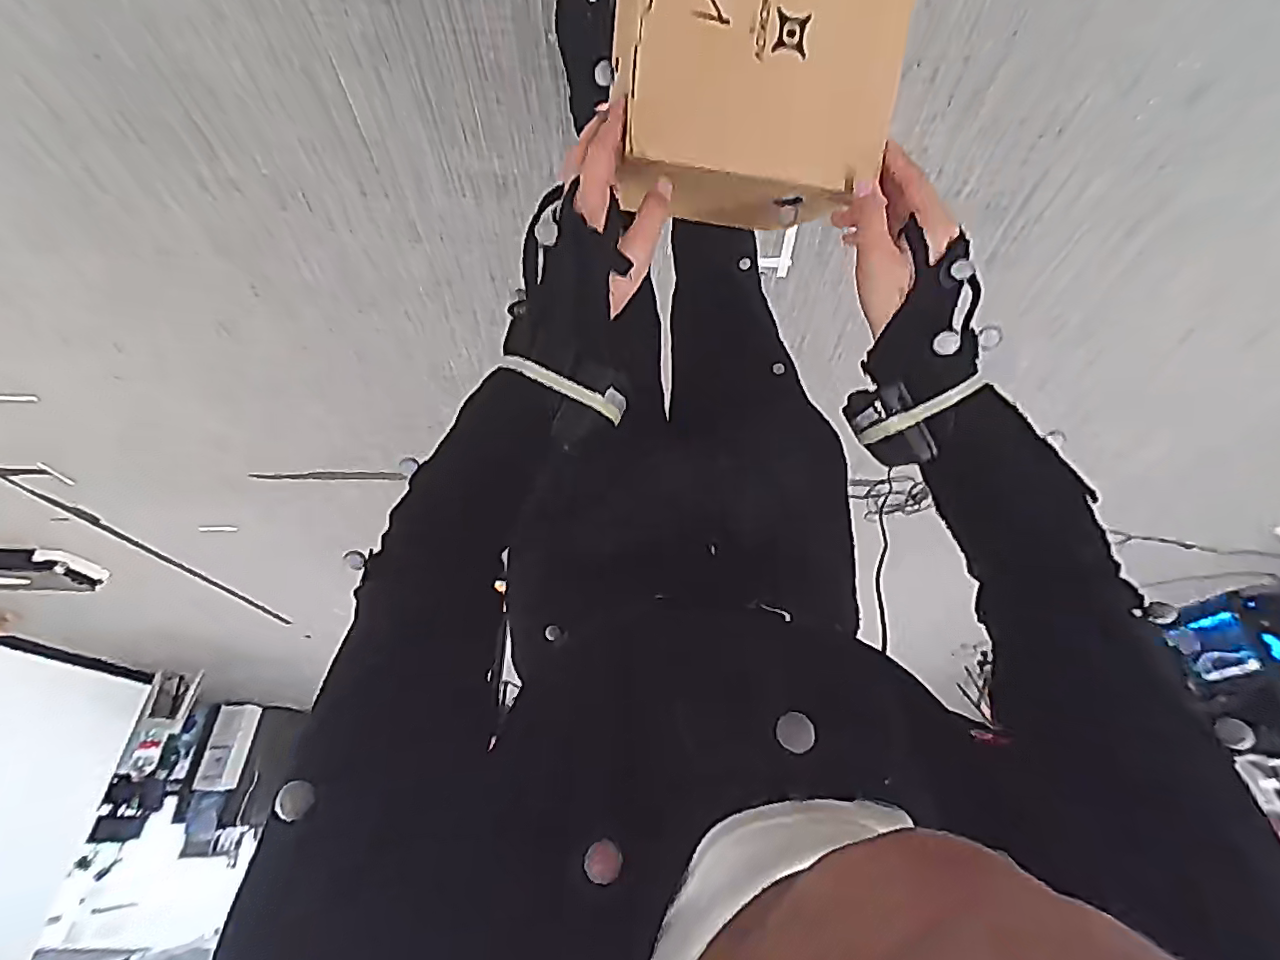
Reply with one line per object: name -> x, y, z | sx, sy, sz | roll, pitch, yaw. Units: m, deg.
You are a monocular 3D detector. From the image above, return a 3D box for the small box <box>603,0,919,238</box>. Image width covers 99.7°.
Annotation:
small box -> 0.073, -0.289, 0.407 | 0.179, 0.176, 0.168 | 3, 105, -11
